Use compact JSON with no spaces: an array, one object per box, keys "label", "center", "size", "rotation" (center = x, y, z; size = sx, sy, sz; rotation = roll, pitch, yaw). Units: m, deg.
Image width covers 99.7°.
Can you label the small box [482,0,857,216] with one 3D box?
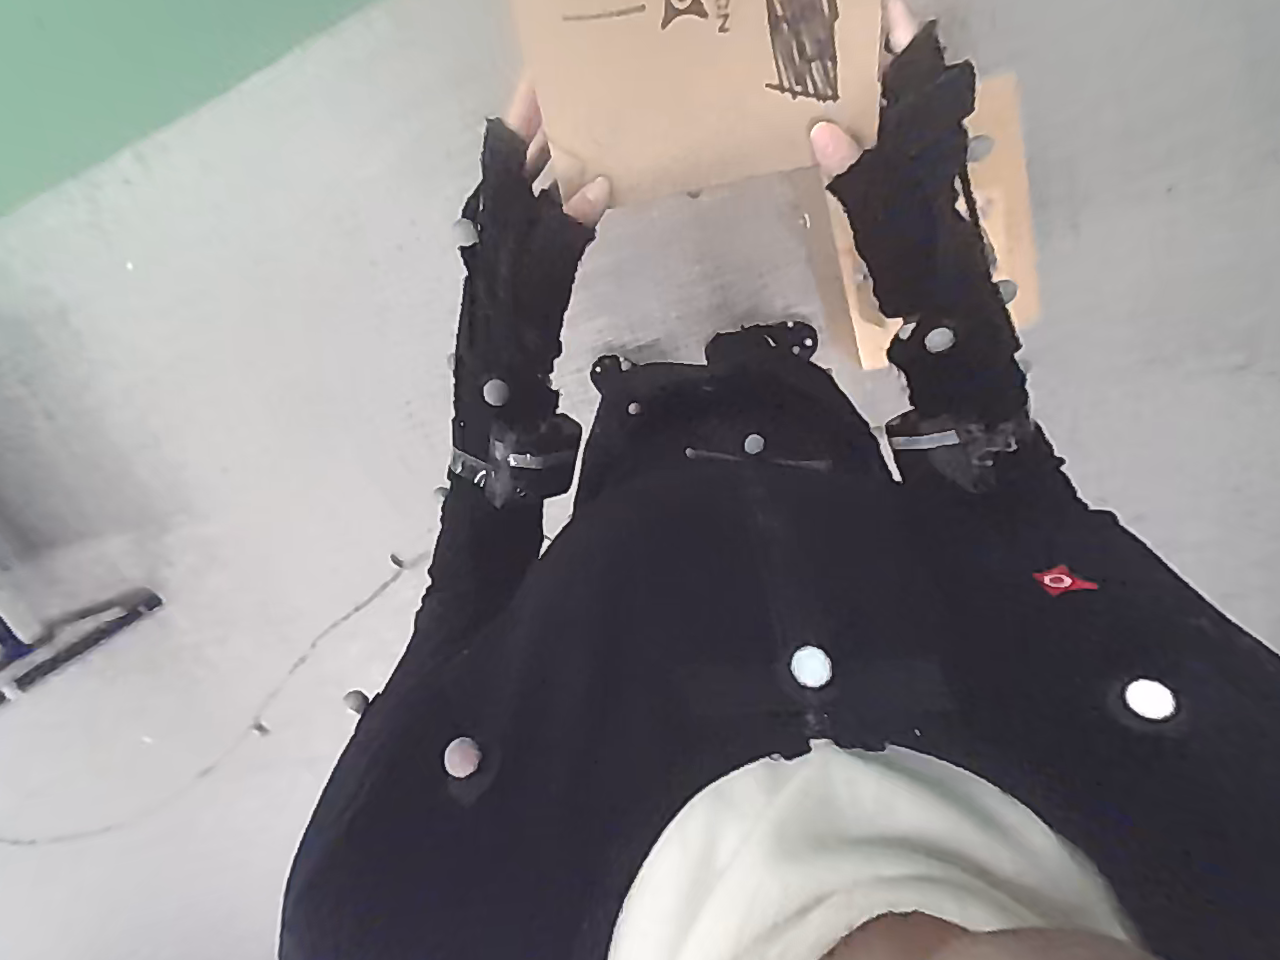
[{"label":"small box","center":[0.012,-0.278,0.316],"size":[0.179,0.176,0.168],"rotation":[-9,127,8]}]

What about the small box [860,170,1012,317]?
[{"label":"small box","center":[0.459,-0.368,0.863],"size":[0.179,0.176,0.168],"rotation":[-11,110,14]}]
